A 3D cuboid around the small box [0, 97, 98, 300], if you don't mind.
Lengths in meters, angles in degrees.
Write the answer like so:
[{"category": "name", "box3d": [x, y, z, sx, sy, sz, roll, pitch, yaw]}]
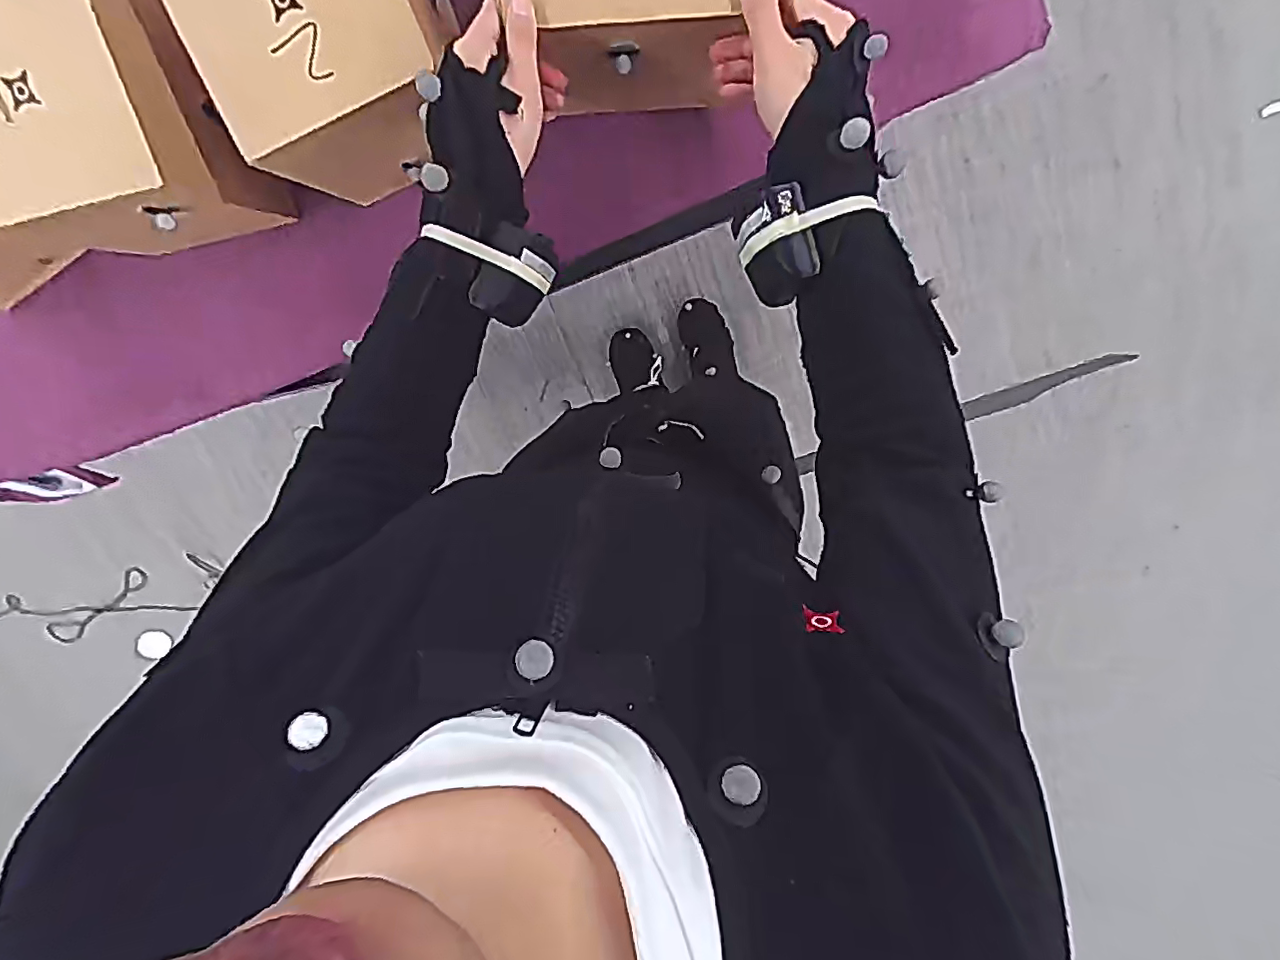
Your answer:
[{"category": "small box", "box3d": [-0.687, -0.275, 0.501, 0.168, 0.176, 0.179, -28, 105, 11]}]
